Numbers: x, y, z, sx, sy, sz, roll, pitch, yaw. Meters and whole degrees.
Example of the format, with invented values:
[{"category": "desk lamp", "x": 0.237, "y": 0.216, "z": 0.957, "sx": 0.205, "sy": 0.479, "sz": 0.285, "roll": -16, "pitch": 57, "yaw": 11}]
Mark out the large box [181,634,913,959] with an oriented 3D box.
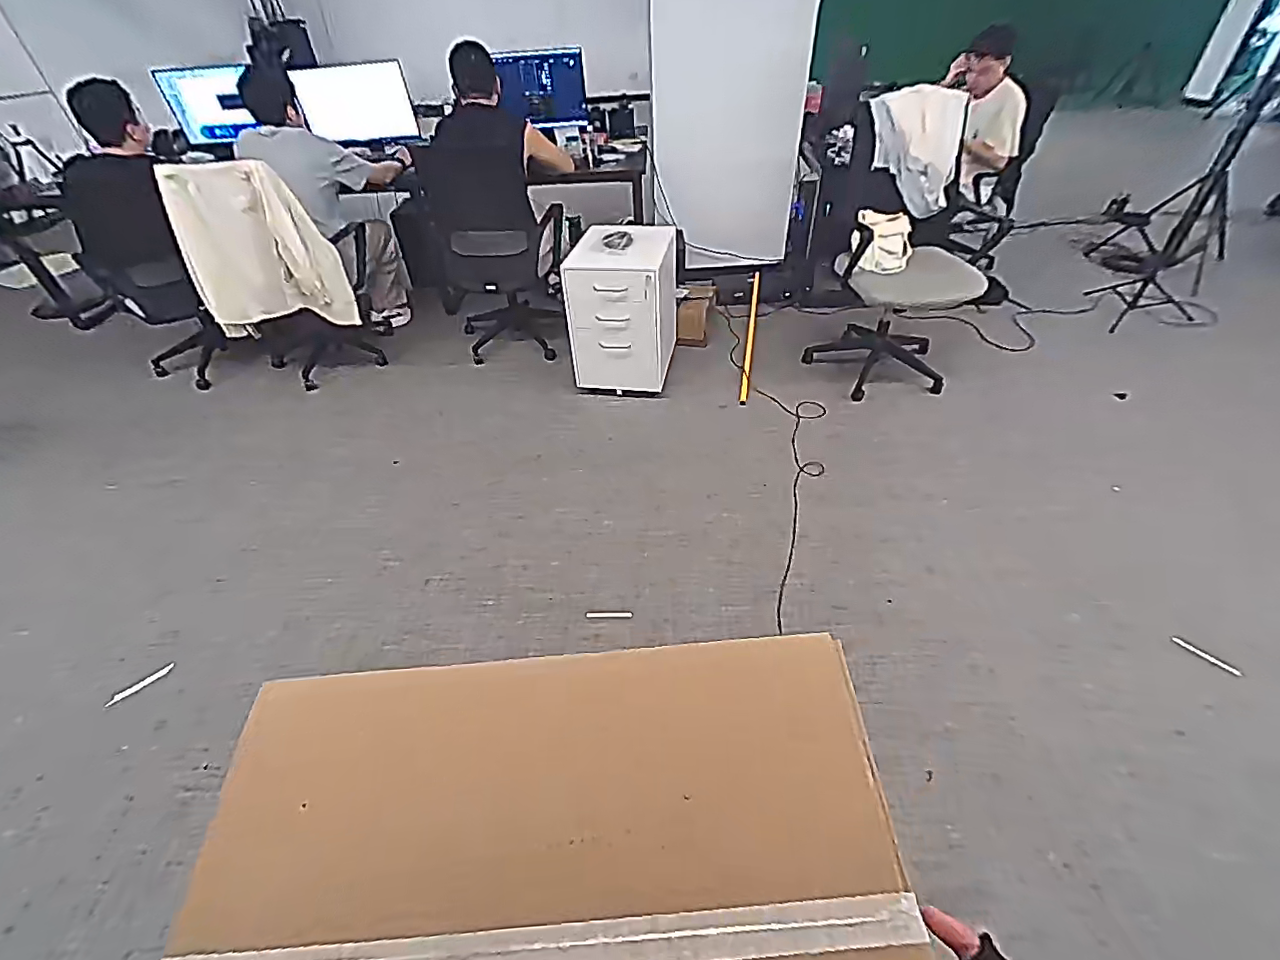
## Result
[{"category": "large box", "x": -0.045, "y": 0.340, "z": 0.414, "sx": 0.408, "sy": 0.320, "sz": 0.320, "roll": -6, "pitch": 52, "yaw": 1}]
